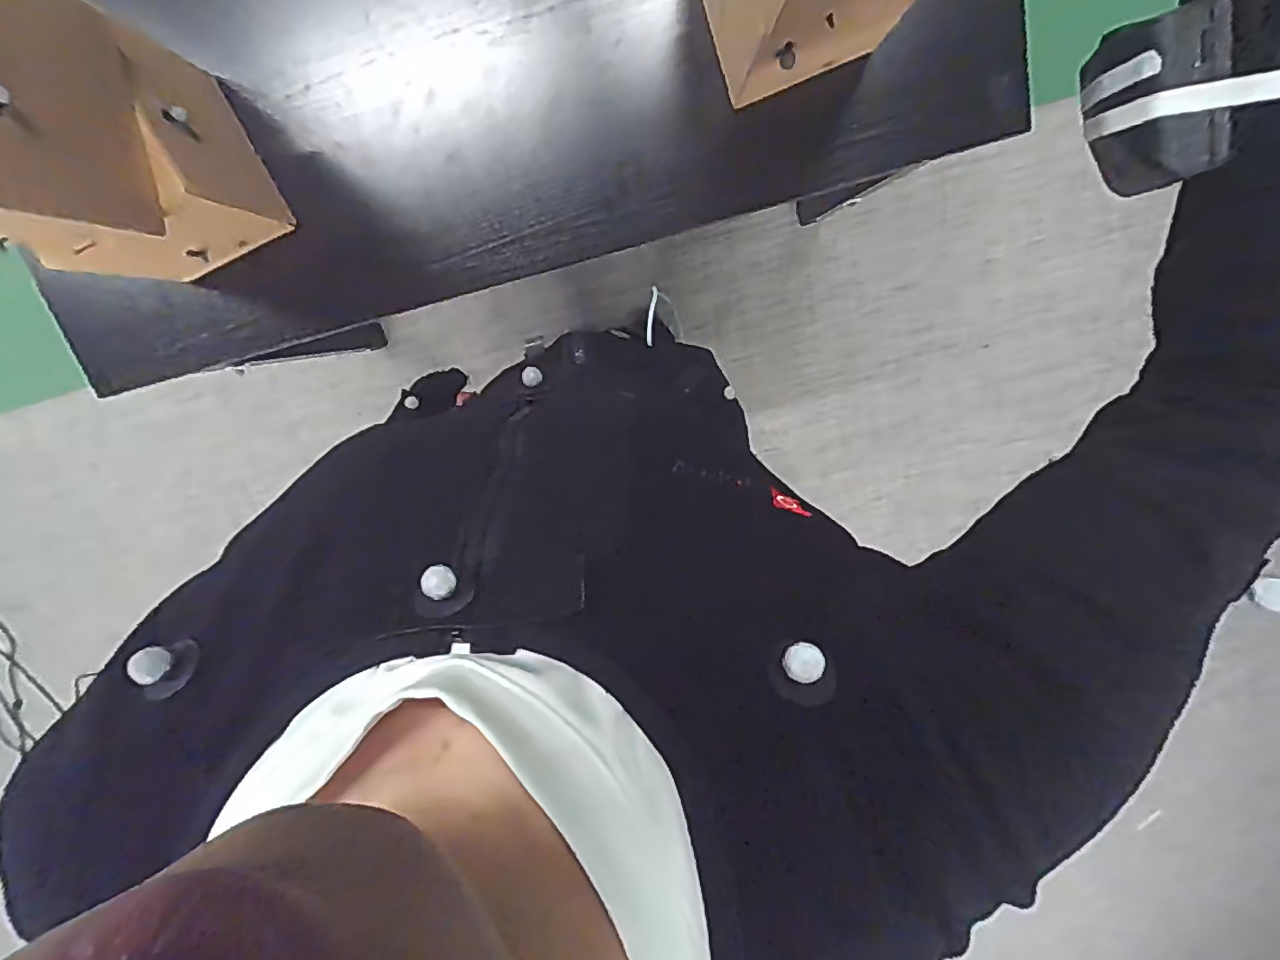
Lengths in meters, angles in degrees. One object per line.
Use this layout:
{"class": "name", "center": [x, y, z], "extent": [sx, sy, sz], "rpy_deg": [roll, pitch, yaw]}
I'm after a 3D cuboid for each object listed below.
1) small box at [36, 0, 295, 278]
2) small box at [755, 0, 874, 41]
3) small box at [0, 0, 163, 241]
{"class": "small box", "center": [-0.518, -0.329, 0.565], "extent": [0.168, 0.176, 0.179], "rpy_deg": [-23, 106, 6]}
{"class": "small box", "center": [0.152, -0.454, 0.357], "extent": [0.168, 0.176, 0.179], "rpy_deg": [-22, 105, 7]}
{"class": "small box", "center": [-0.520, -0.282, 0.408], "extent": [0.168, 0.176, 0.179], "rpy_deg": [-2, 106, 0]}
